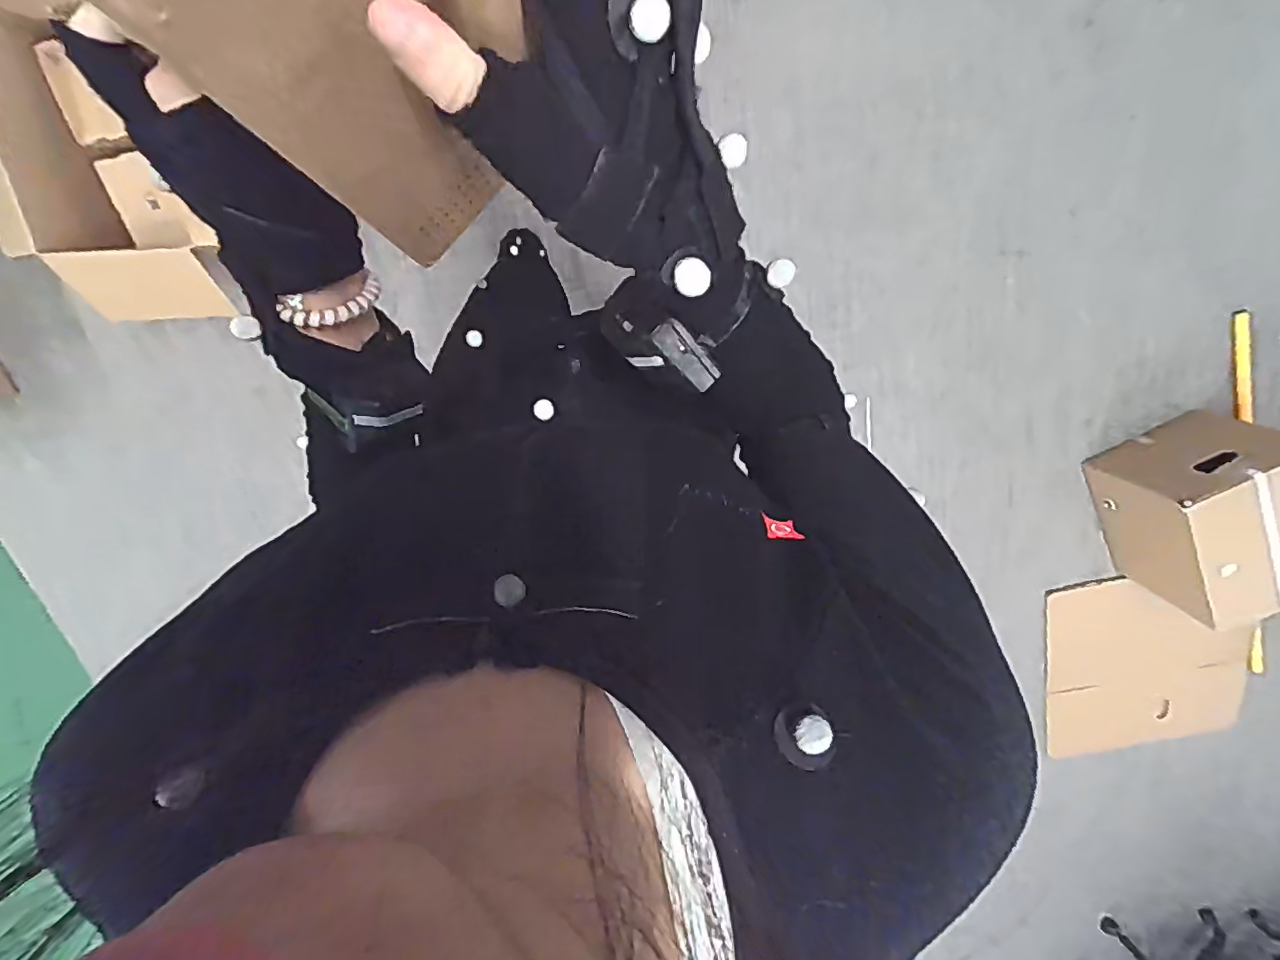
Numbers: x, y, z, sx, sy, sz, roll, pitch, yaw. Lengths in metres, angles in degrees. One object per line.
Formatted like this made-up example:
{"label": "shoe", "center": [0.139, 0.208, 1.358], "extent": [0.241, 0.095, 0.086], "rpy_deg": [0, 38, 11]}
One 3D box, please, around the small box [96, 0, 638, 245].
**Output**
{"label": "small box", "center": [-0.114, -0.228, 0.200], "extent": [0.168, 0.176, 0.179], "rpy_deg": [44, 94, 3]}
